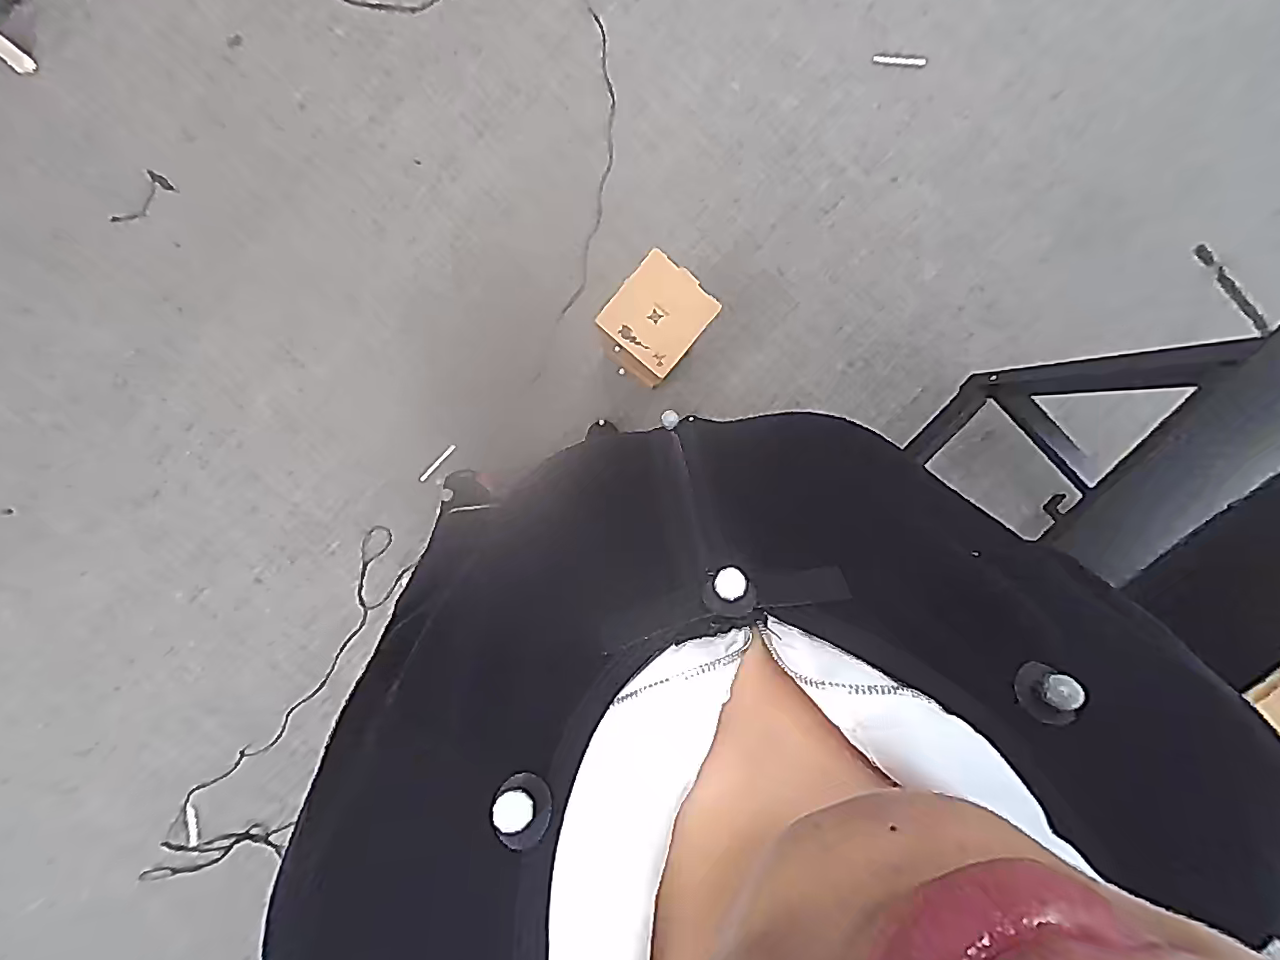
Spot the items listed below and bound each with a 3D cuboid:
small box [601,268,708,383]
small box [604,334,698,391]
[{"bbox_3d":[0.029,-0.337,1.225,0.168,0.176,0.179,37,92,-5],"label":"small box"},{"bbox_3d":[0.024,-0.346,1.386,0.168,0.176,0.179,40,94,-4],"label":"small box"}]
